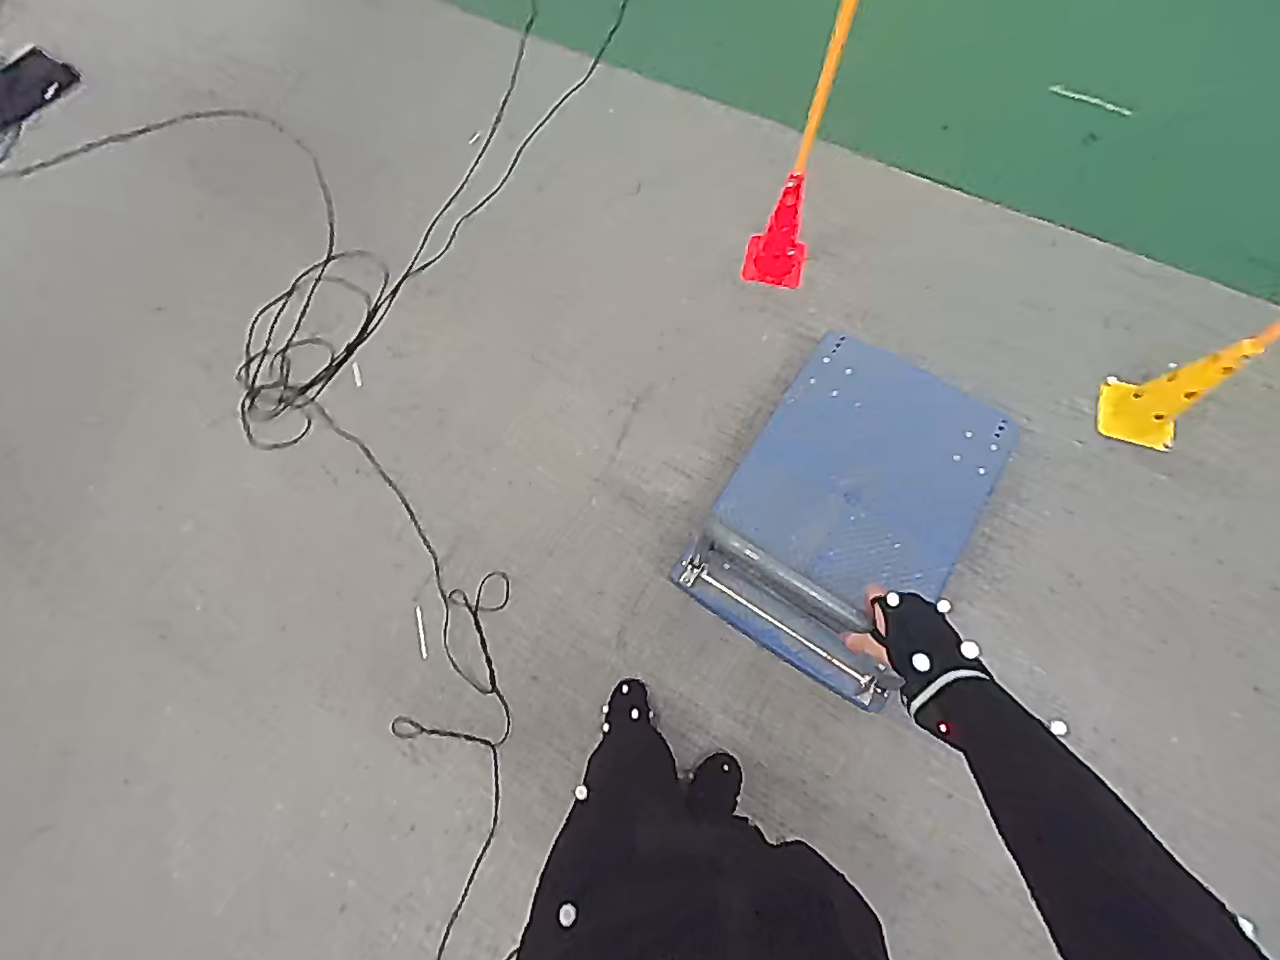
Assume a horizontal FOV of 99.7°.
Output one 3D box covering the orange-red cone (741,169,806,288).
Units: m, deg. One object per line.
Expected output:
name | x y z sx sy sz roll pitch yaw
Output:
orange-red cone | 0.448 -0.807 1.697 0.199 0.360 0.198 14 71 9
